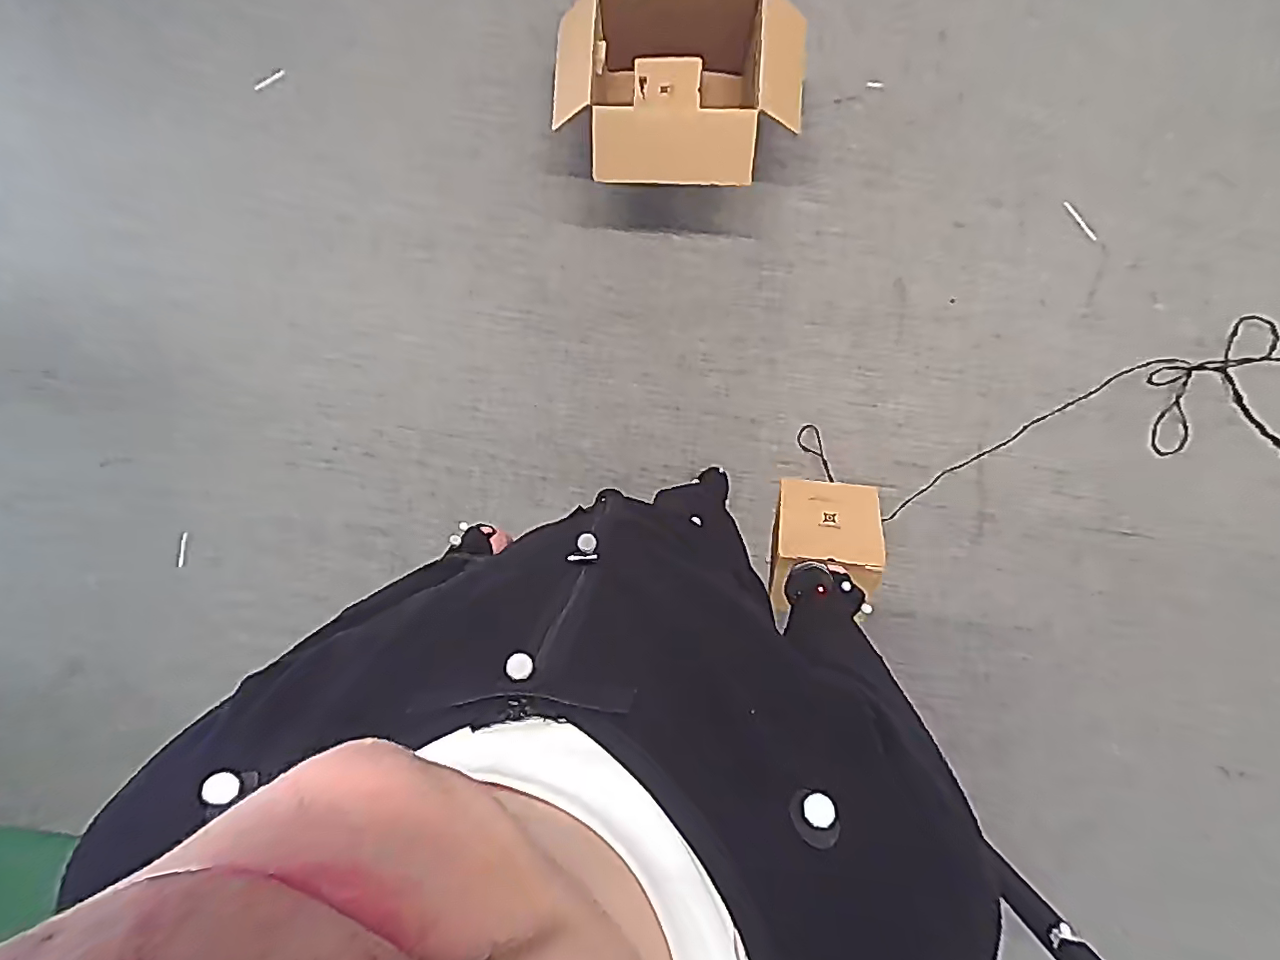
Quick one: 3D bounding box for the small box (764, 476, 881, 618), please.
[{"bbox_3d":[0.313,0.120,0.953,0.168,0.176,0.179,7,46,10],"label":"small box"}]
